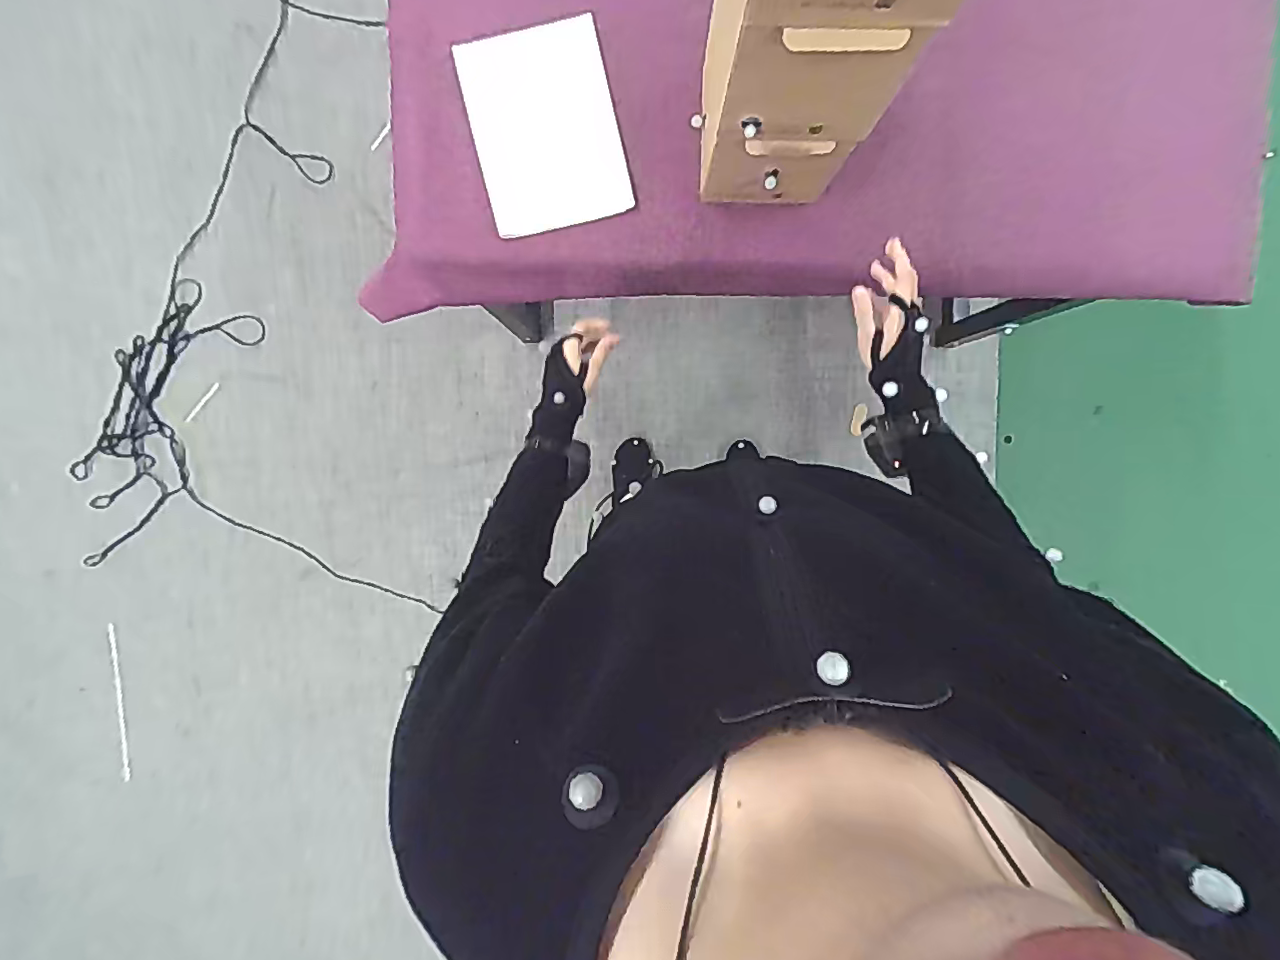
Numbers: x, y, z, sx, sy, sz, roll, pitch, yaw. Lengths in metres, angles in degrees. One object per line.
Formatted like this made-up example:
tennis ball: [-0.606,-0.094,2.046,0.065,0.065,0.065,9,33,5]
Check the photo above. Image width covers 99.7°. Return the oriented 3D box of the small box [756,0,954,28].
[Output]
small box: [0.164,-0.444,0.351,0.168,0.176,0.179,2,92,0]

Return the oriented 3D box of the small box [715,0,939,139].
small box: [0.165,-0.457,0.514,0.168,0.176,0.179,1,92,0]

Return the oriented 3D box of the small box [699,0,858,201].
small box: [0.166,-0.471,0.678,0.168,0.176,0.179,1,94,0]
